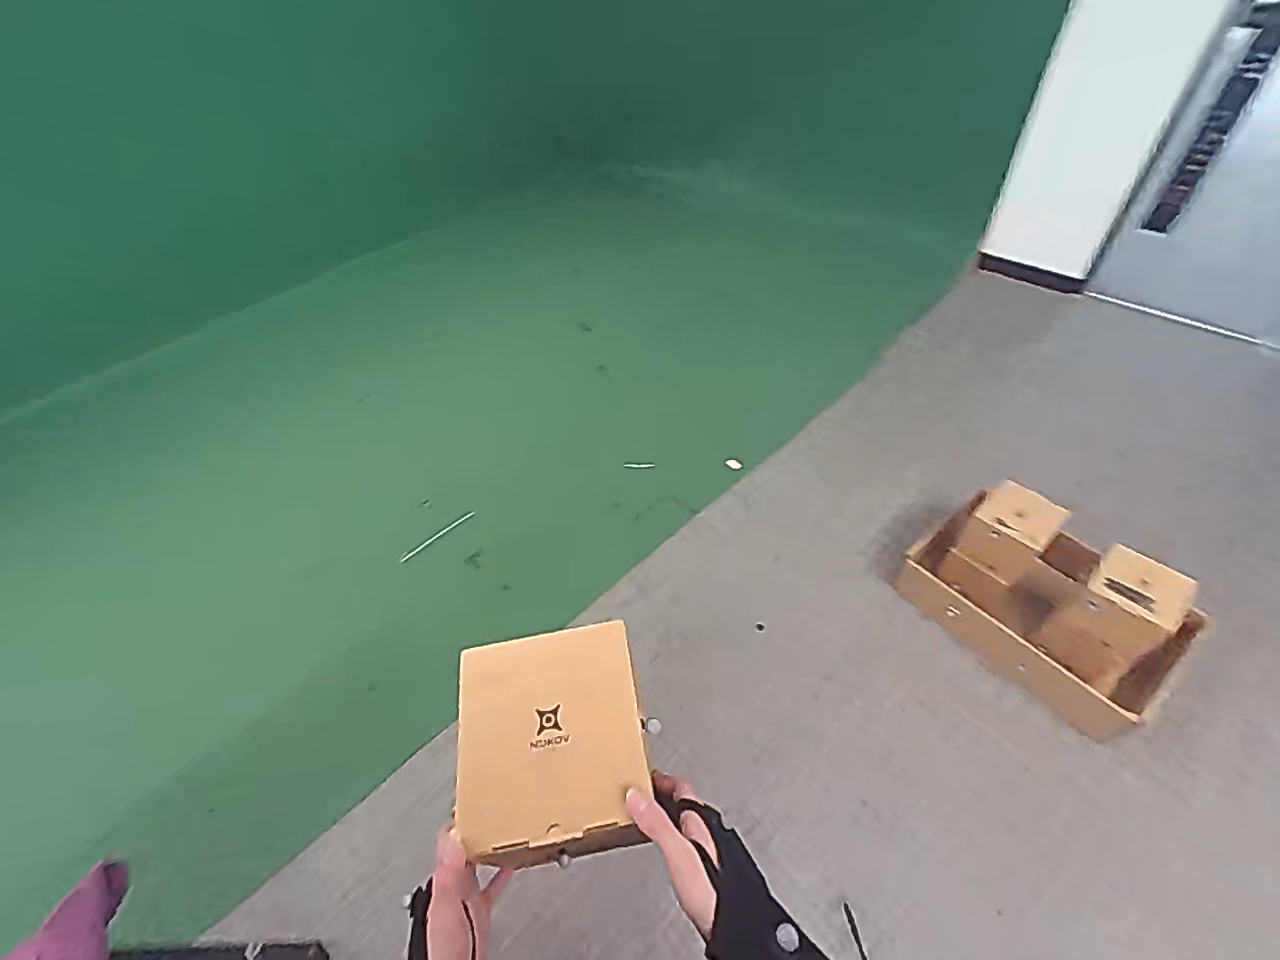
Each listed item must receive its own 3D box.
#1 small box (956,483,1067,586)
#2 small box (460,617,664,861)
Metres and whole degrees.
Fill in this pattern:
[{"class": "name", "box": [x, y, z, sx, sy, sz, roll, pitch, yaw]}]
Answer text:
[{"class": "small box", "box": [0.990, 0.147, 1.457, 0.179, 0.176, 0.168, -36, 52, -23]}, {"class": "small box", "box": [-0.070, 0.264, 0.546, 0.168, 0.176, 0.179, -9, 53, -2]}]
